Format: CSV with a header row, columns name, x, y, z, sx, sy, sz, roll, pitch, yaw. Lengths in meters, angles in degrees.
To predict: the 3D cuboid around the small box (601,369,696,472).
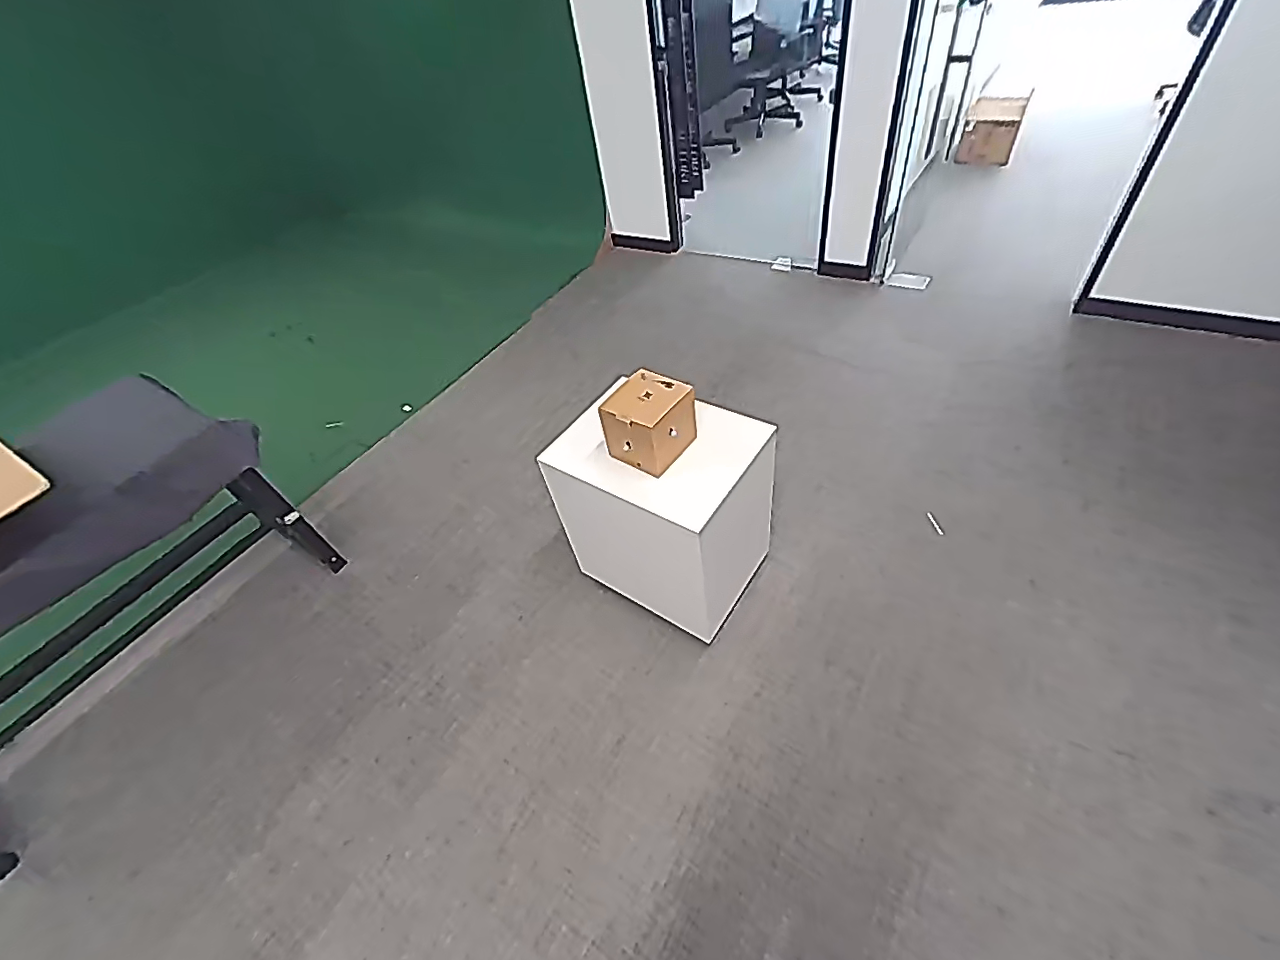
name,x,y,z,sx,sy,sz,roll,pitch,yaw
small box,0.031,-0.147,1.360,0.168,0.176,0.179,23,55,28
